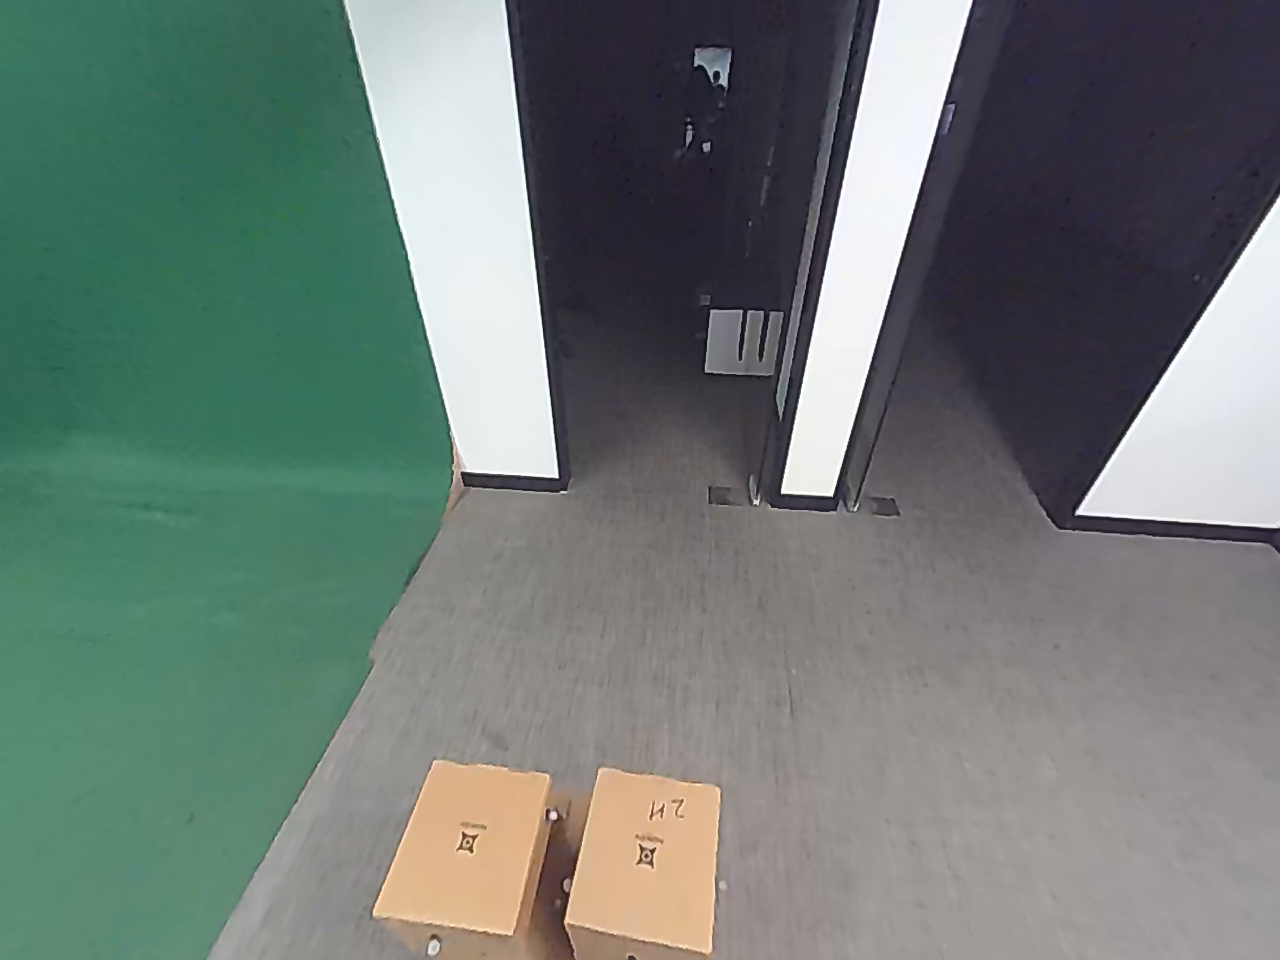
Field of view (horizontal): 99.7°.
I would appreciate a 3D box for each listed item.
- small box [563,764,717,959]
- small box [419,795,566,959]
[{"bbox_3d":[0.010,0.515,0.715,0.168,0.176,0.179,6,39,9],"label":"small box"},{"bbox_3d":[-0.214,0.628,0.842,0.168,0.176,0.179,6,40,5],"label":"small box"}]
